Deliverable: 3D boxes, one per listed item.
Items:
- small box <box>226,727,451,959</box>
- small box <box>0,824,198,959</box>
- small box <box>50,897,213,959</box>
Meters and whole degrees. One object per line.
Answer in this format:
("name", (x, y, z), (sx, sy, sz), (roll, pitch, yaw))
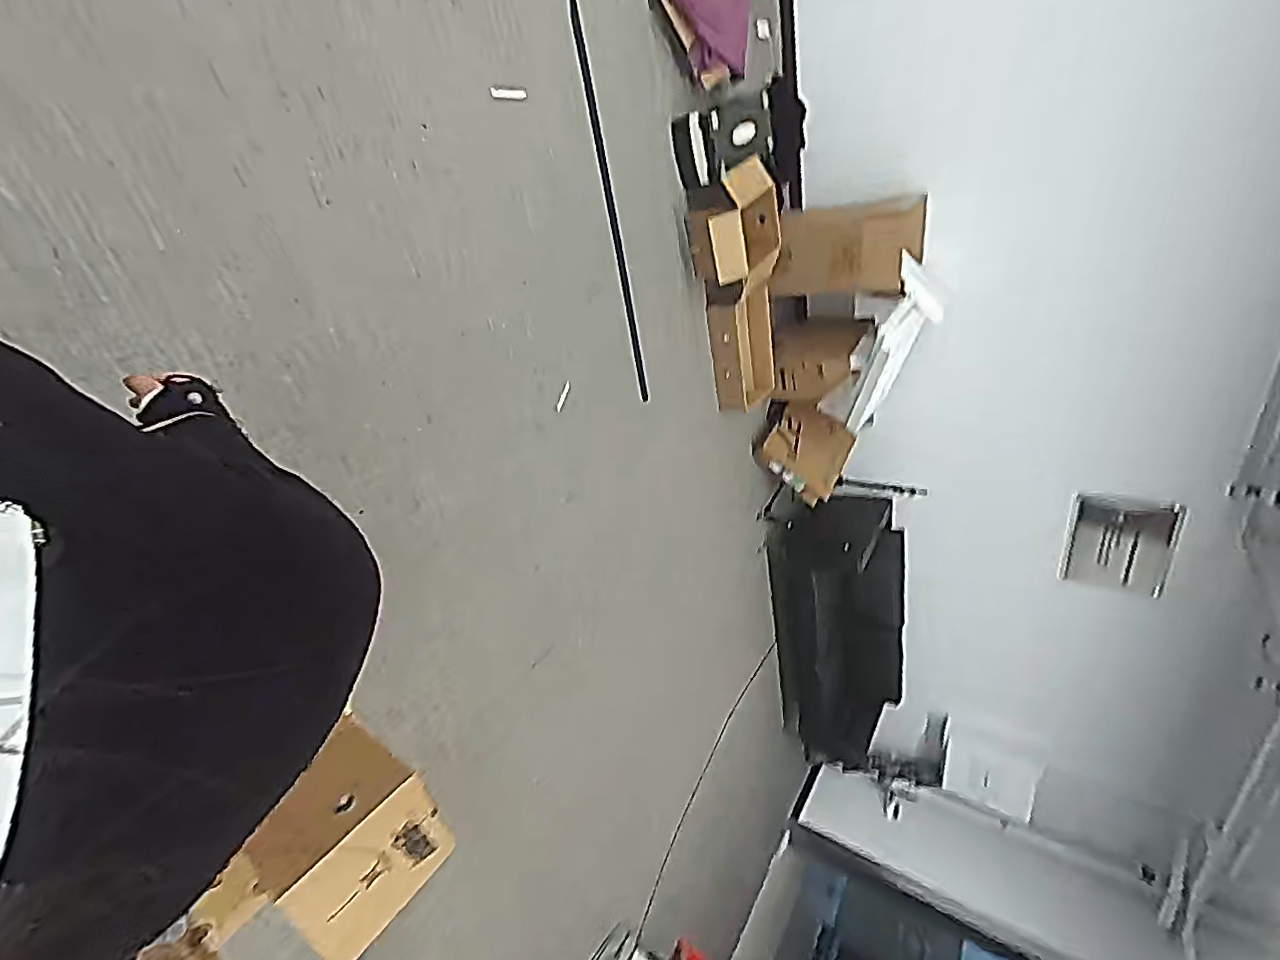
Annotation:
("small box", (-0.391, 0.467, 0.713), (0.179, 0.176, 0.168), (-37, 125, -43))
("small box", (-0.665, 0.553, 0.634), (0.168, 0.176, 0.179), (-39, 126, -45))
("small box", (-0.531, 0.571, 0.541), (0.168, 0.176, 0.179), (-40, 126, -44))
